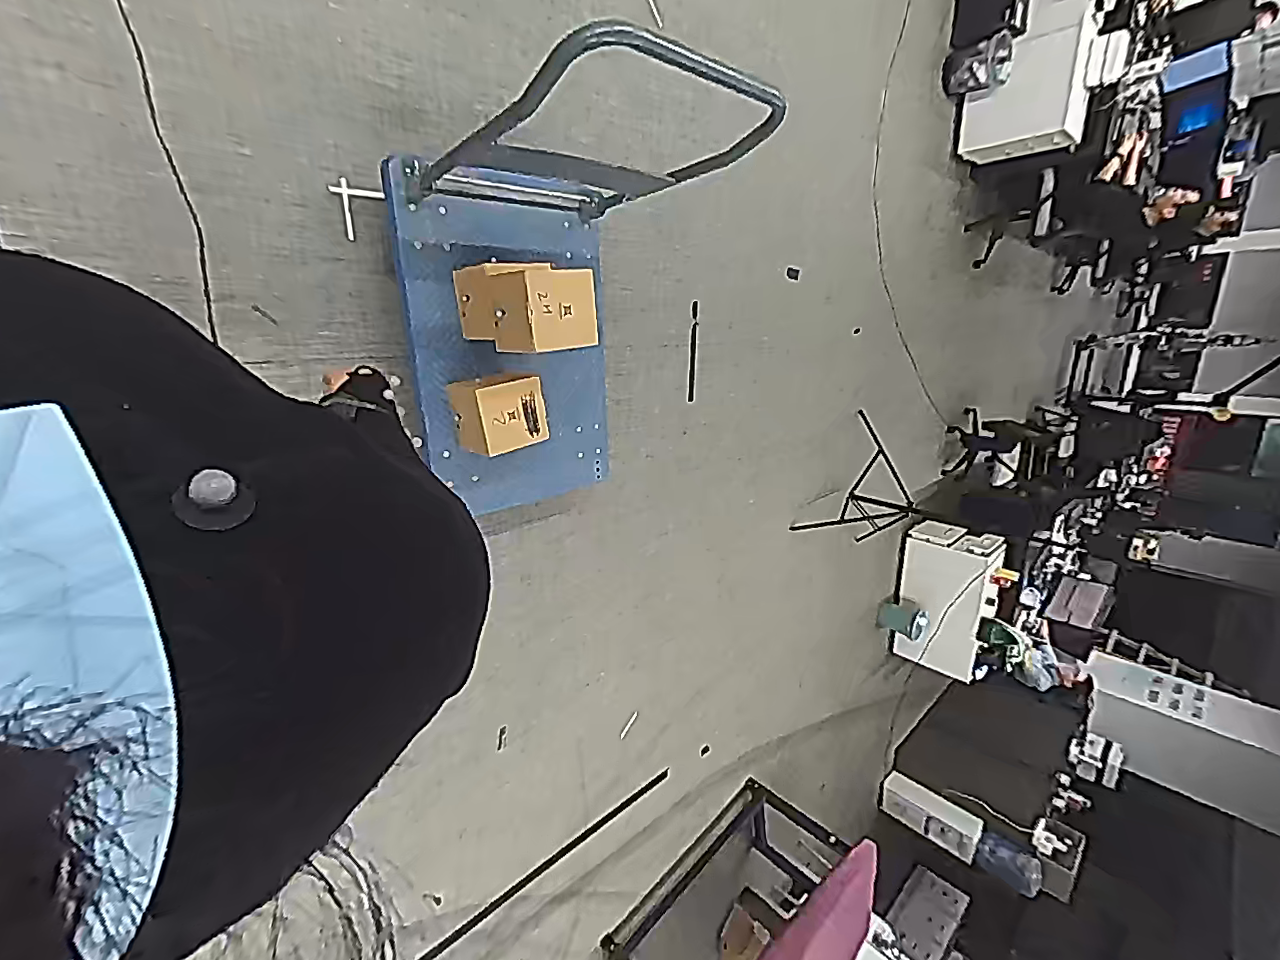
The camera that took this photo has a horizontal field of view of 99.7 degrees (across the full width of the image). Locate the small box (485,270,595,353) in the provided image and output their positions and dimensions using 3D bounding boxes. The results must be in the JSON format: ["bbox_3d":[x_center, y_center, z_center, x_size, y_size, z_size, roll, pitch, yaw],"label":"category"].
[{"bbox_3d":[-0.224,-0.381,1.217,0.179,0.176,0.168,-19,113,-39],"label":"small box"}]

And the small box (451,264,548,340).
[{"bbox_3d":[-0.336,-0.438,1.326,0.179,0.176,0.168,-19,114,-39],"label":"small box"}]
